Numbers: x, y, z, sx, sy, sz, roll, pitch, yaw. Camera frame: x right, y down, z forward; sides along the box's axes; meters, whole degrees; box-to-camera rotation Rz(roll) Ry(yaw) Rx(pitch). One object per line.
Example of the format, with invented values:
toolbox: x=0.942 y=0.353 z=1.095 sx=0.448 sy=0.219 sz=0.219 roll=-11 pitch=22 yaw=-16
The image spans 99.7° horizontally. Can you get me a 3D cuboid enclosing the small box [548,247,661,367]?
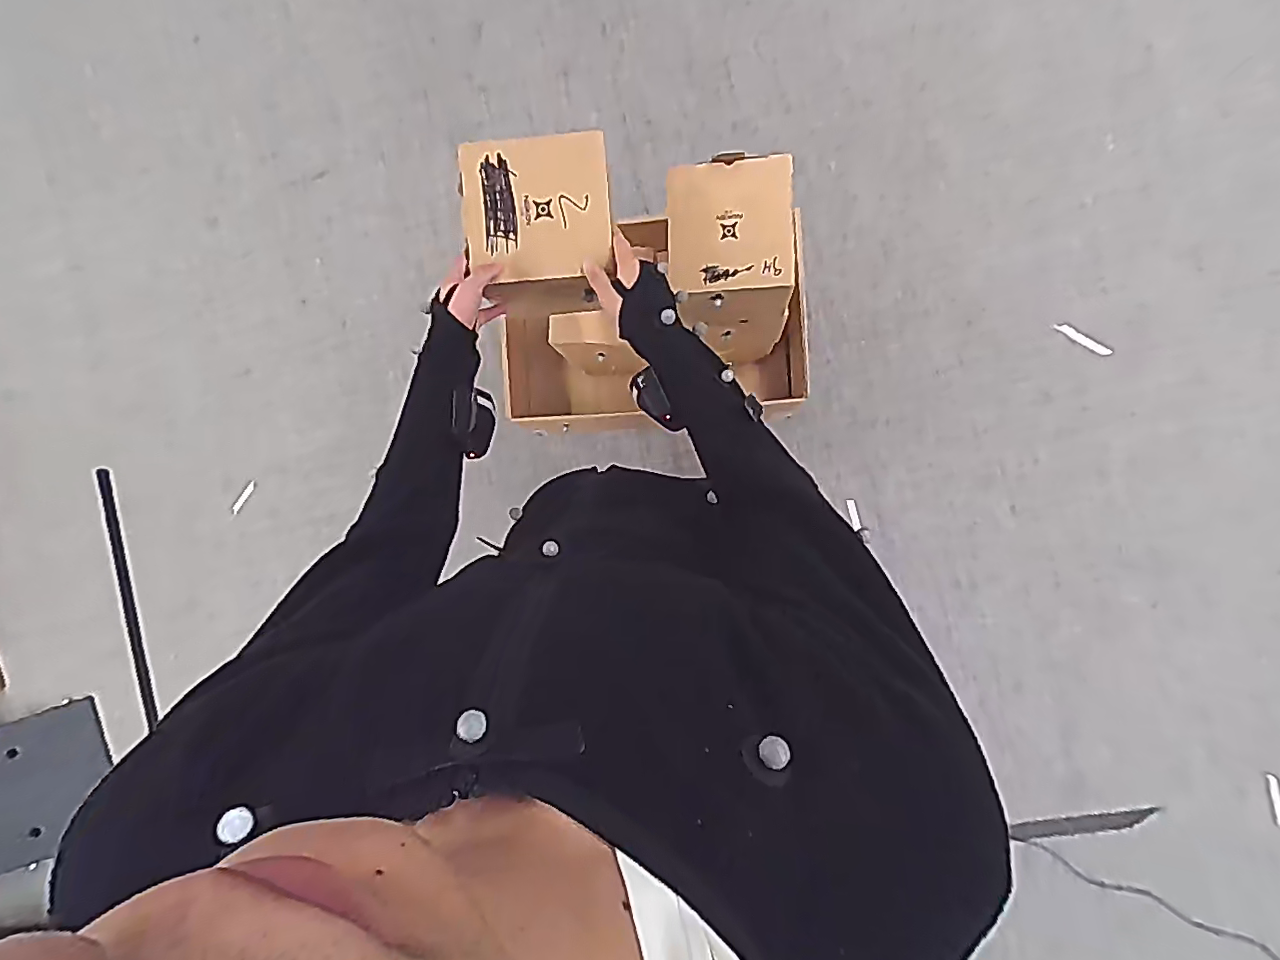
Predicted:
small box: x=-0.056 y=-0.304 z=0.975 sx=0.179 sy=0.176 sz=0.168 roll=3 pitch=91 yaw=7

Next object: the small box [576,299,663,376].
small box: x=-0.042 y=-0.319 z=1.139 sx=0.179 sy=0.176 sz=0.168 roll=-2 pitch=90 yaw=6
